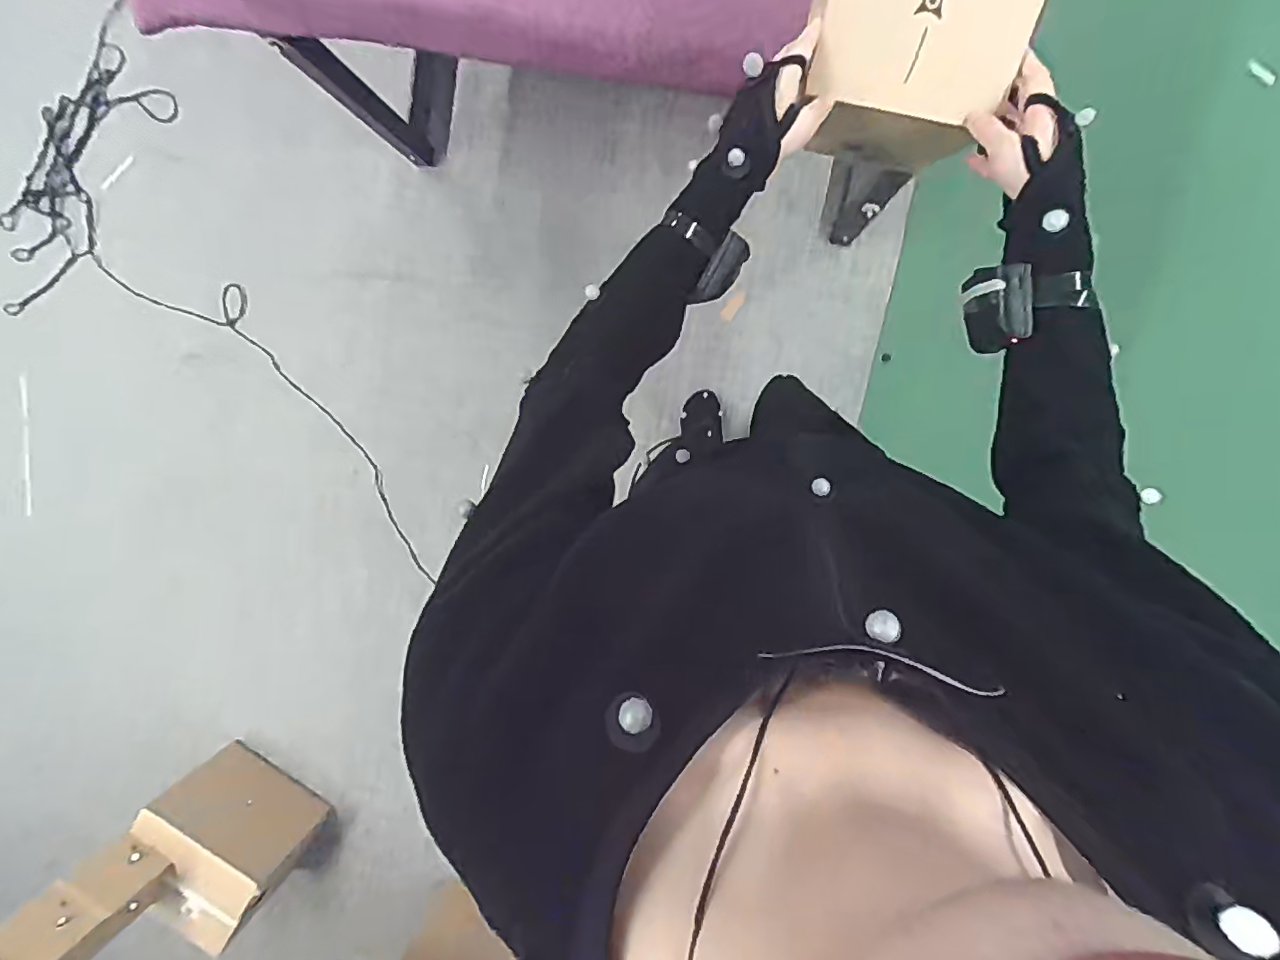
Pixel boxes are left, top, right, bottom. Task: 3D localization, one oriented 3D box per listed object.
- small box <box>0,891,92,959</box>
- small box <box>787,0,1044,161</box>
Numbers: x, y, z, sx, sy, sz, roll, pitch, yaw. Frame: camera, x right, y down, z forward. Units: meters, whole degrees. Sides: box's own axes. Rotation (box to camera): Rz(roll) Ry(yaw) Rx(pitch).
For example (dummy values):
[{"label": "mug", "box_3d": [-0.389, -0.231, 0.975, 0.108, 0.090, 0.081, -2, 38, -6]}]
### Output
[{"label": "small box", "box_3d": [-1.464, 1.137, 1.273, 0.168, 0.176, 0.179, 30, 100, 2]}, {"label": "small box", "box_3d": [0.246, -0.425, 0.499, 0.168, 0.176, 0.179, 13, 110, 2]}]
